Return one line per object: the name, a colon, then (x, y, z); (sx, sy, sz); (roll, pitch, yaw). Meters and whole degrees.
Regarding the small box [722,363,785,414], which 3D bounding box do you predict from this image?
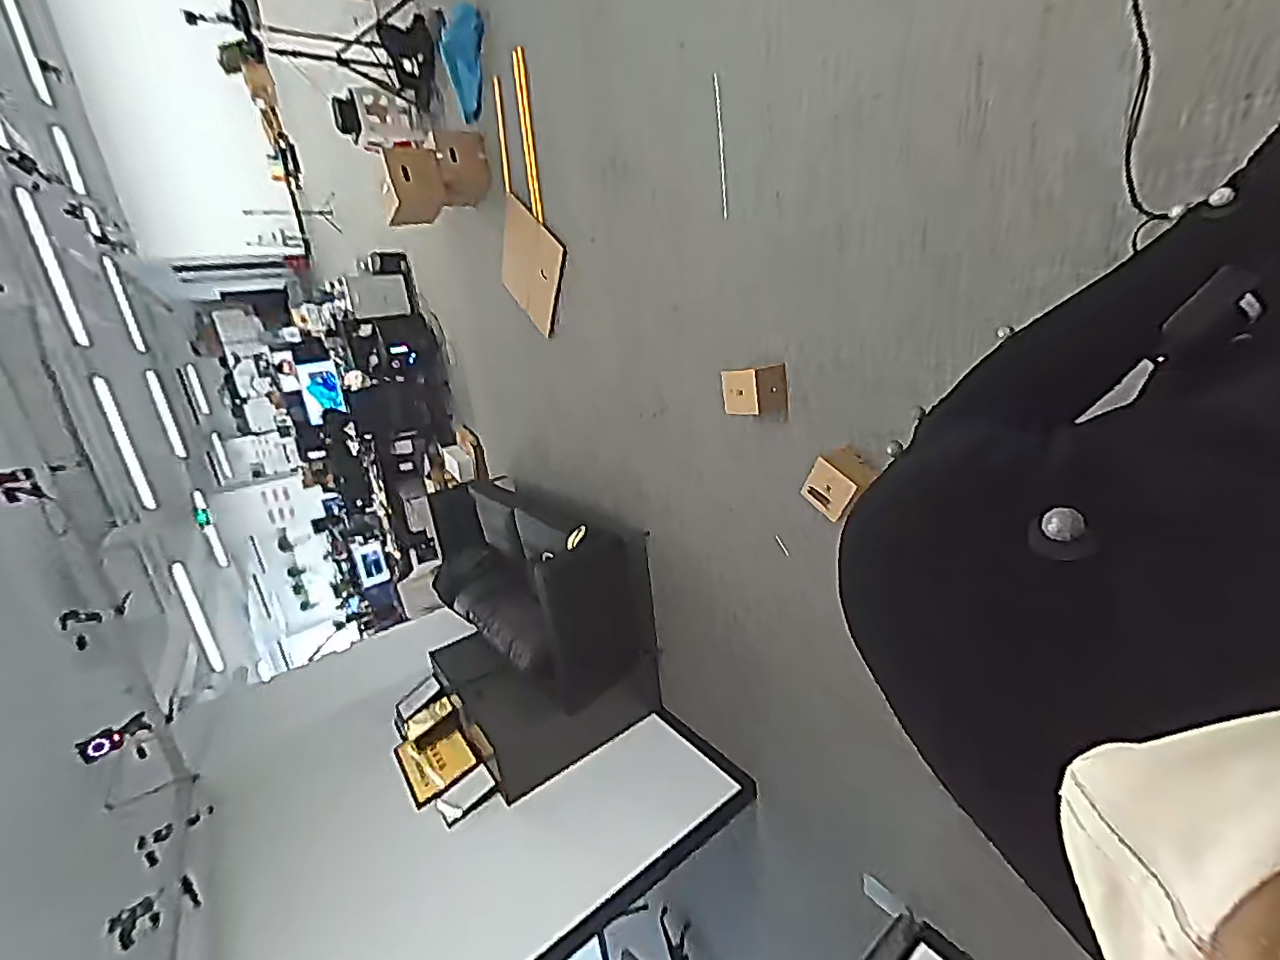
small box: (0.439, -0.351, 2.069); (0.179, 0.176, 0.168); (12, 114, 54)
